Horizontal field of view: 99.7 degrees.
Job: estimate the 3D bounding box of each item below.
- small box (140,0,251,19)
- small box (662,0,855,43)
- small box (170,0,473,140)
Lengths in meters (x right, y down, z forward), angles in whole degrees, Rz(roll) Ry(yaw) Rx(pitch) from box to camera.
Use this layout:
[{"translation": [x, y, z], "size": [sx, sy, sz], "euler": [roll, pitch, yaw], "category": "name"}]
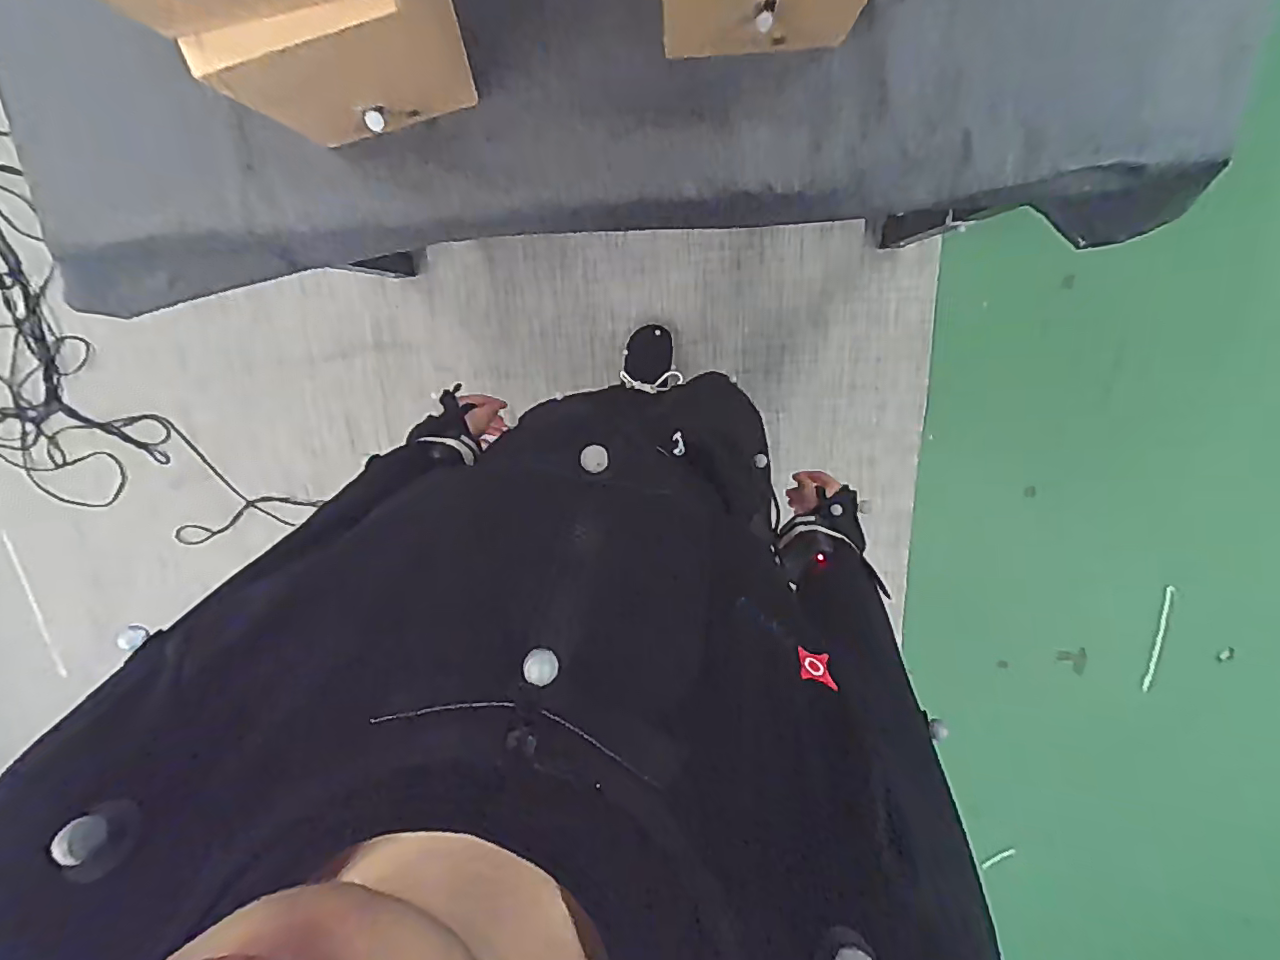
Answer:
[{"translation": [-0.264, -0.383, 0.276], "size": [0.179, 0.176, 0.168], "euler": [-8, 107, 4], "category": "small box"}, {"translation": [0.096, -0.463, 0.405], "size": [0.168, 0.176, 0.179], "euler": [-2, 107, 4], "category": "small box"}, {"translation": [-0.259, -0.413, 0.436], "size": [0.168, 0.176, 0.179], "euler": [-12, 106, 6], "category": "small box"}]
